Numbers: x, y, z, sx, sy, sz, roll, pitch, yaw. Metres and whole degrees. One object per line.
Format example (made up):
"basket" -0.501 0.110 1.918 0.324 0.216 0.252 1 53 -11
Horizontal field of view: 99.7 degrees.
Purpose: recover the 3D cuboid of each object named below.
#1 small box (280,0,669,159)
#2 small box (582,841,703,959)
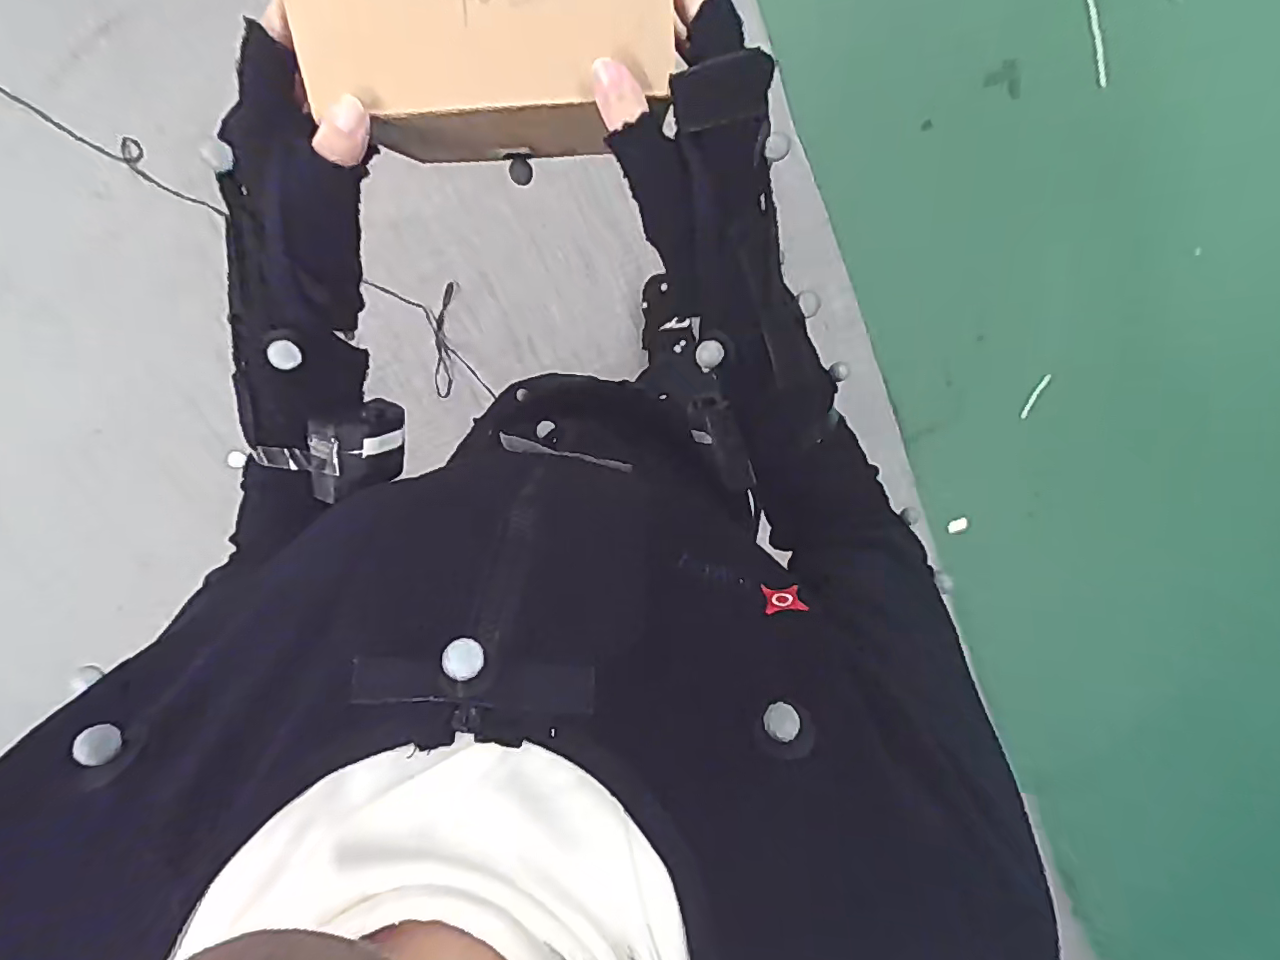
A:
"small box" -0.076 -0.285 0.283 0.168 0.176 0.179 -4 114 0
"small box" 0.012 0.788 0.953 0.168 0.176 0.179 -18 103 6
